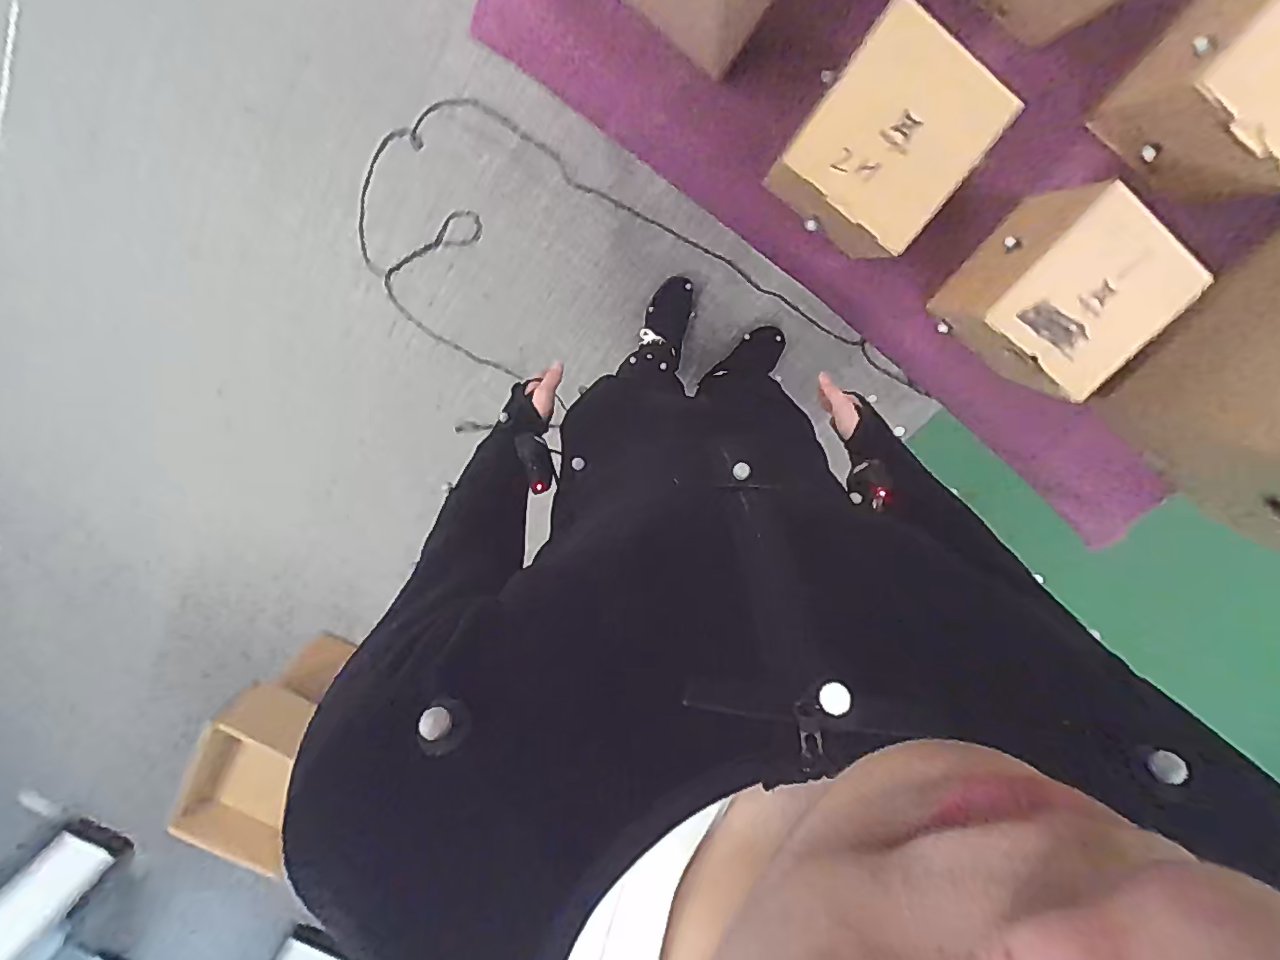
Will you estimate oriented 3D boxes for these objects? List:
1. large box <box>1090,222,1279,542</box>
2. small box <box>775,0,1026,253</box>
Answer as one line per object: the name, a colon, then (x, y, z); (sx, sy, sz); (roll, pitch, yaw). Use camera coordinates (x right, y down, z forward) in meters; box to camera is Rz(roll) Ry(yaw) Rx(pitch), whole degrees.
large box: (0.879, -0.129, 0.614); (0.320, 0.320, 0.408); (37, 112, -9)
small box: (0.278, -0.389, 0.628); (0.168, 0.176, 0.179); (34, 111, -8)
